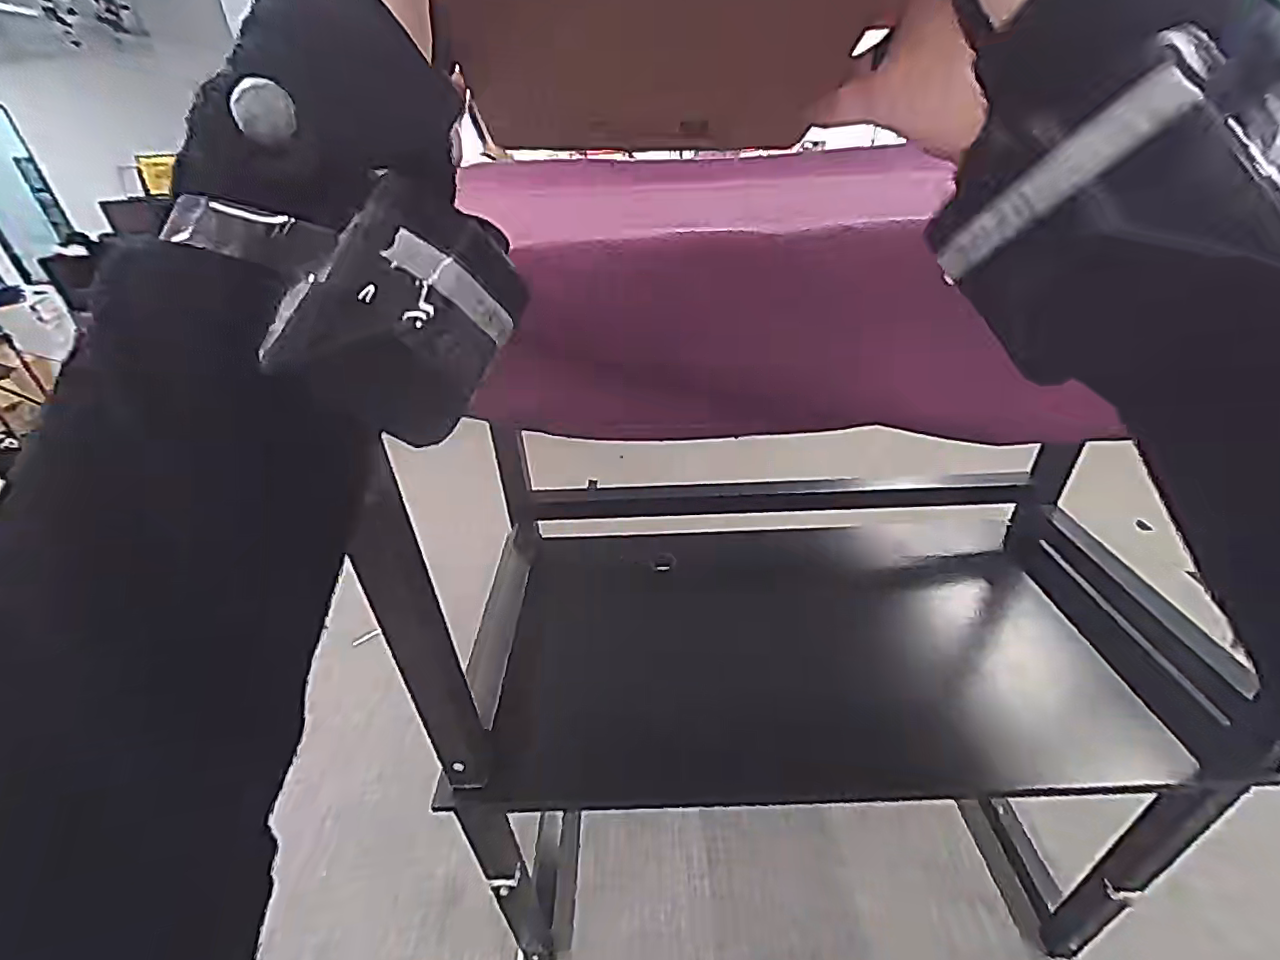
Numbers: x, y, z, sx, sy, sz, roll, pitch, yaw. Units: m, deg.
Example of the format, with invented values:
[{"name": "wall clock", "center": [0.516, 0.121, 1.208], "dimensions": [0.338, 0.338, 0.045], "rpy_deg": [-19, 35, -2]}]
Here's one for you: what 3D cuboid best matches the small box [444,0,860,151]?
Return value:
[{"name": "small box", "center": [0.001, -0.262, 0.205], "dimensions": [0.168, 0.179, 0.176], "rpy_deg": [-2, 1, -1]}]
